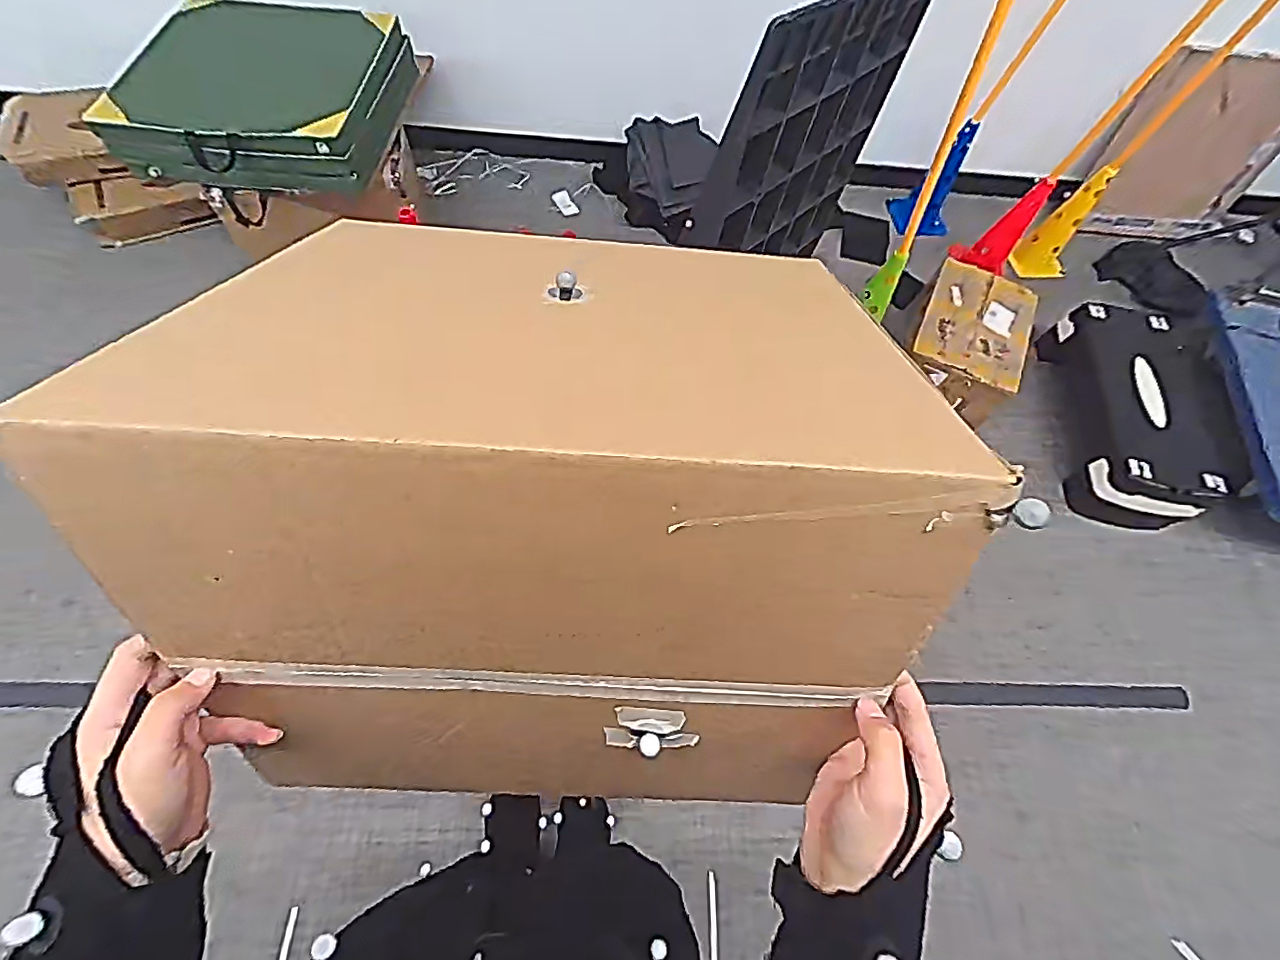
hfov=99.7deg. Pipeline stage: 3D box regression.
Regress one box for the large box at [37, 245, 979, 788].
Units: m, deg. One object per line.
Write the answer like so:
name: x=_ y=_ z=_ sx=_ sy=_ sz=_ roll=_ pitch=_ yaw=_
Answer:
large box: x=-0.061 y=0.018 z=0.433 sx=0.408 sy=0.320 sz=0.320 roll=3 pitch=39 yaw=-3
